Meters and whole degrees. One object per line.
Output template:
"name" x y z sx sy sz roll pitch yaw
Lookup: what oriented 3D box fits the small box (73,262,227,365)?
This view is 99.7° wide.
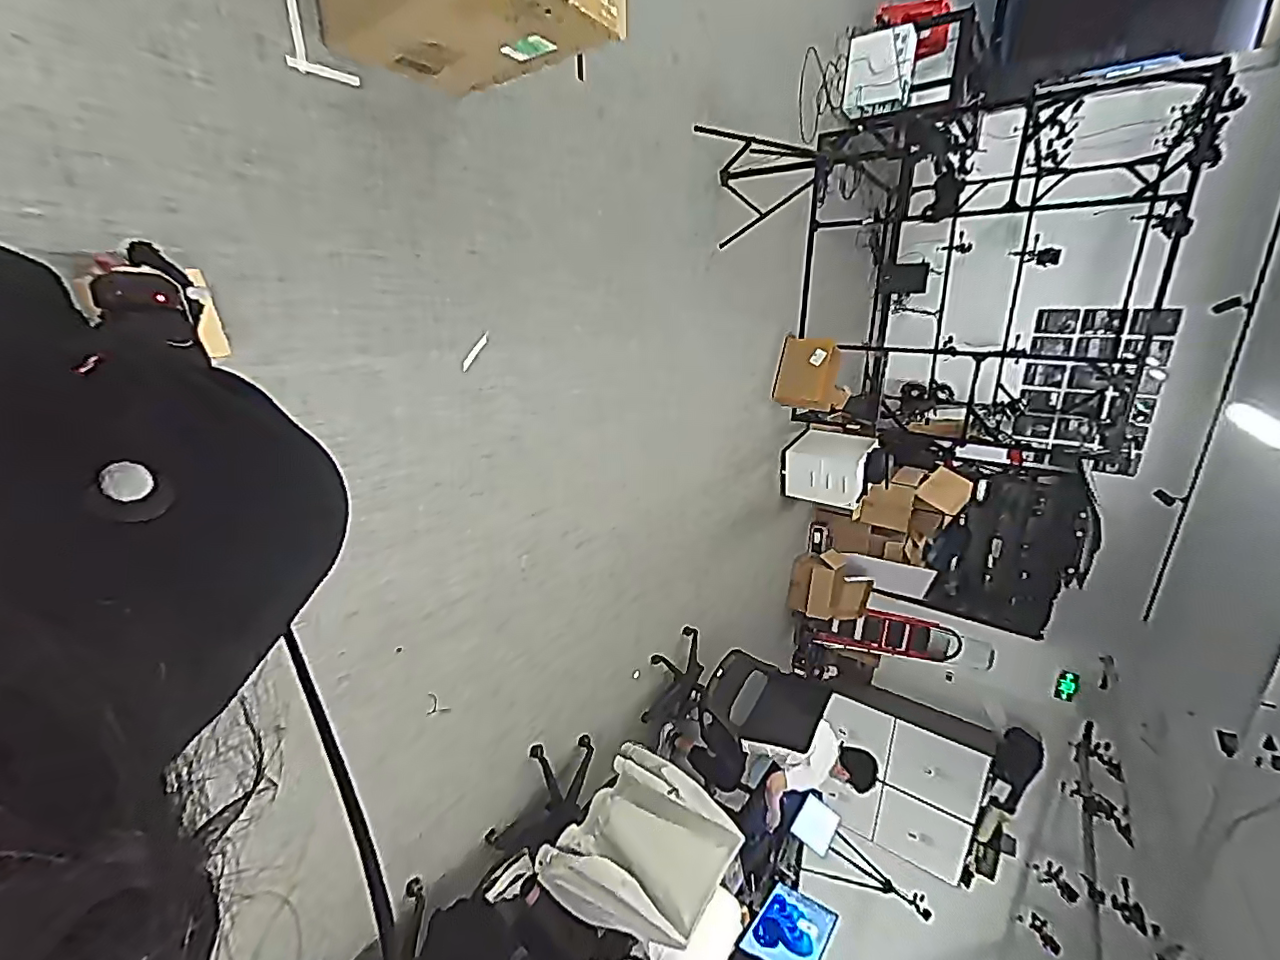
"small box" -0.986 -0.342 1.093 0.168 0.176 0.179 -32 126 -46
